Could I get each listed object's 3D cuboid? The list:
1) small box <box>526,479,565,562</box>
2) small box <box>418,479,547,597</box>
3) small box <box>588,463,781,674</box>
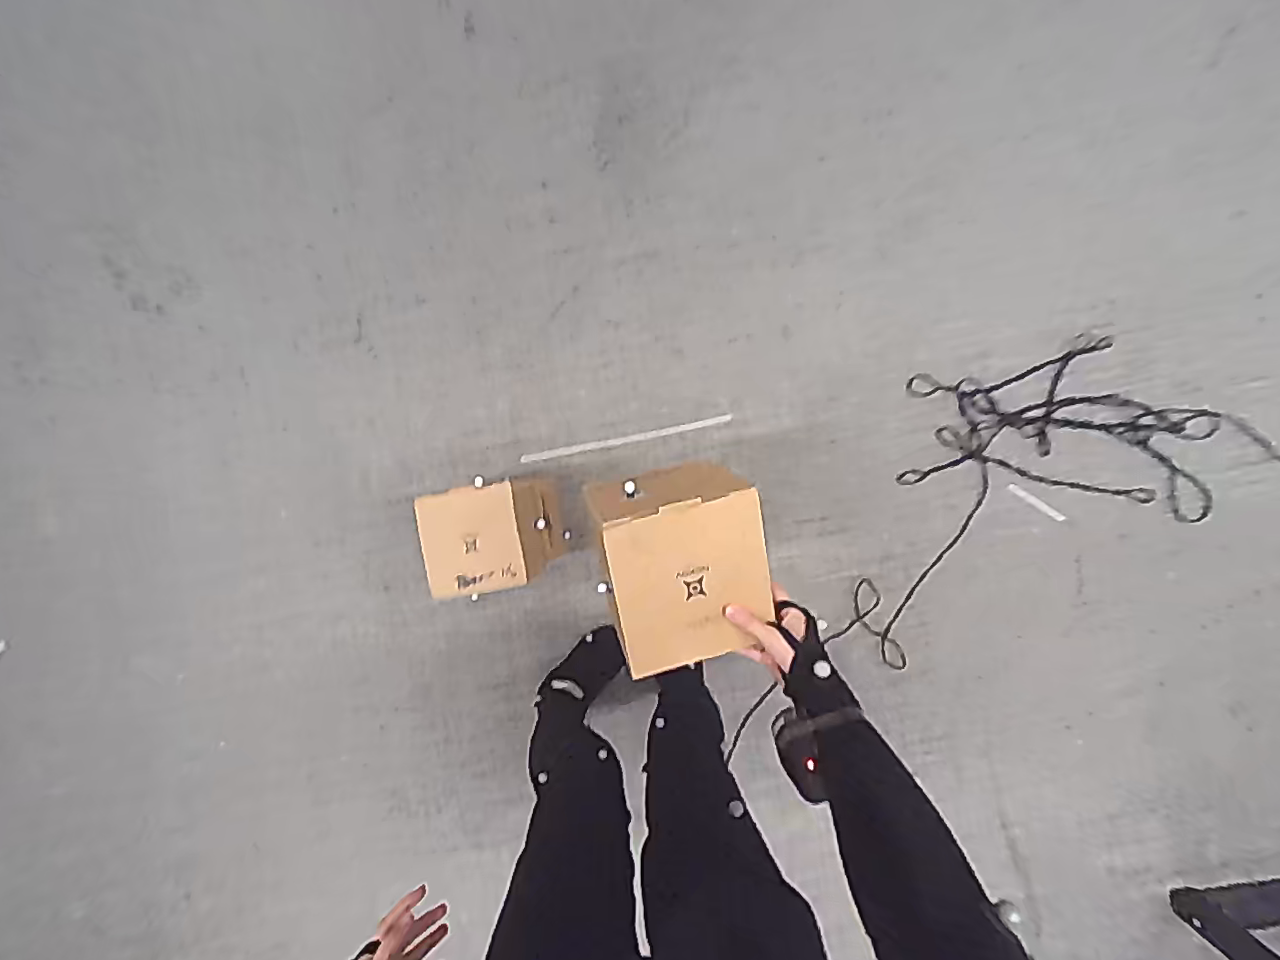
[{"bbox_3d":[-0.262,0.092,1.136,0.179,0.176,0.168,-11,90,3],"label":"small box"},{"bbox_3d":[-0.274,0.097,0.973,0.168,0.176,0.179,-10,90,2],"label":"small box"},{"bbox_3d":[0.041,0.083,0.617,0.168,0.176,0.179,-12,104,-9],"label":"small box"}]
